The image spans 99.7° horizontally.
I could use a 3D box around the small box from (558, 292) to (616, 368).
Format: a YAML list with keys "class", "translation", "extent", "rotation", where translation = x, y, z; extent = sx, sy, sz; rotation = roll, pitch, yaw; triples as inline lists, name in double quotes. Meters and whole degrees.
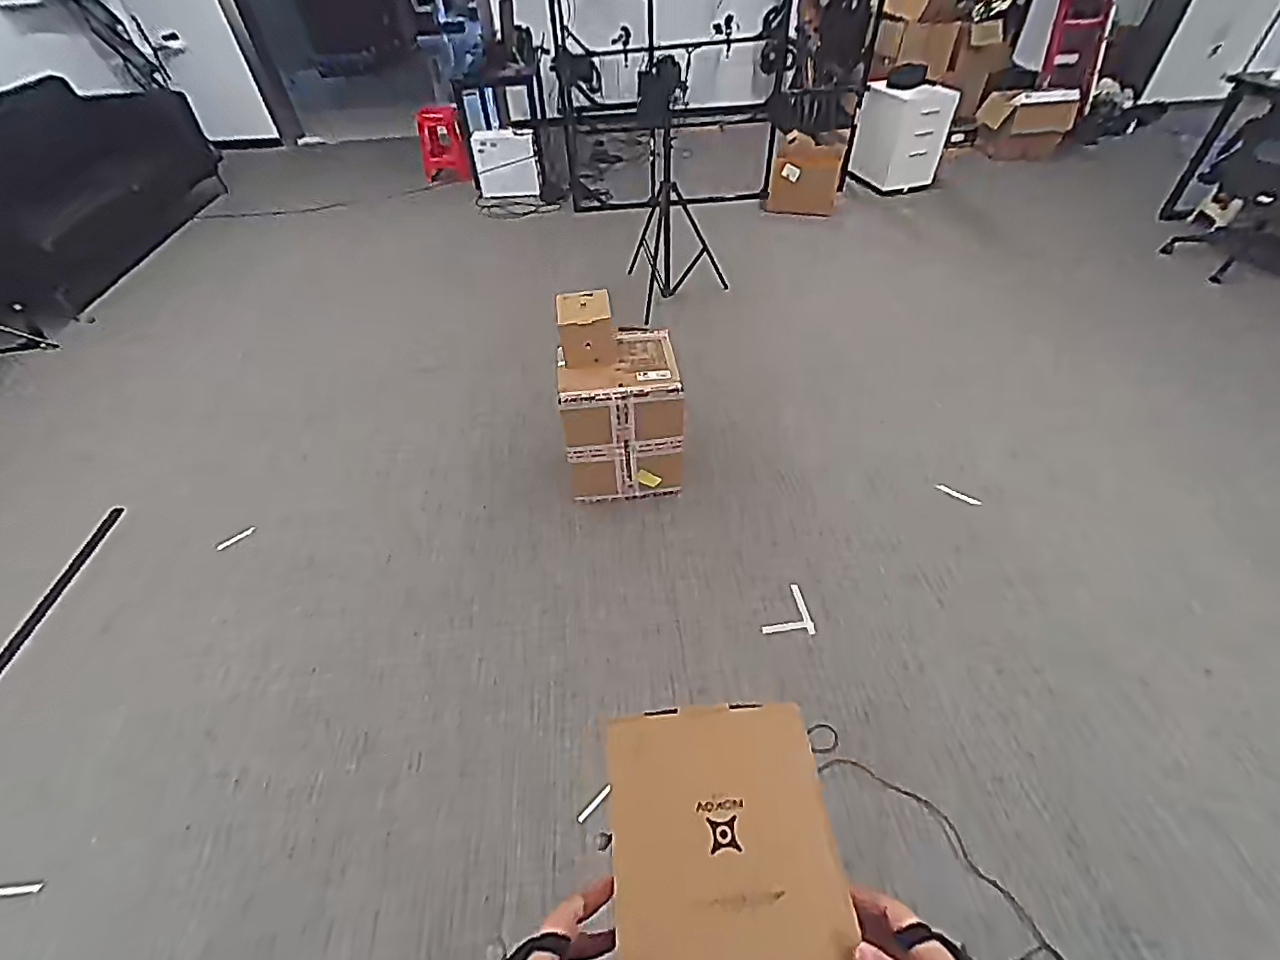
- class: "small box"
  translation: [-0.171, -0.479, 1.750]
  extent: [0.168, 0.176, 0.179]
  rotation: [-7, 50, -2]

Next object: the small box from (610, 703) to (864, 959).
- class: "small box"
  translation: [0.058, 0.311, 0.461]
  extent: [0.168, 0.176, 0.179]
  rotation: [-2, 49, -4]
